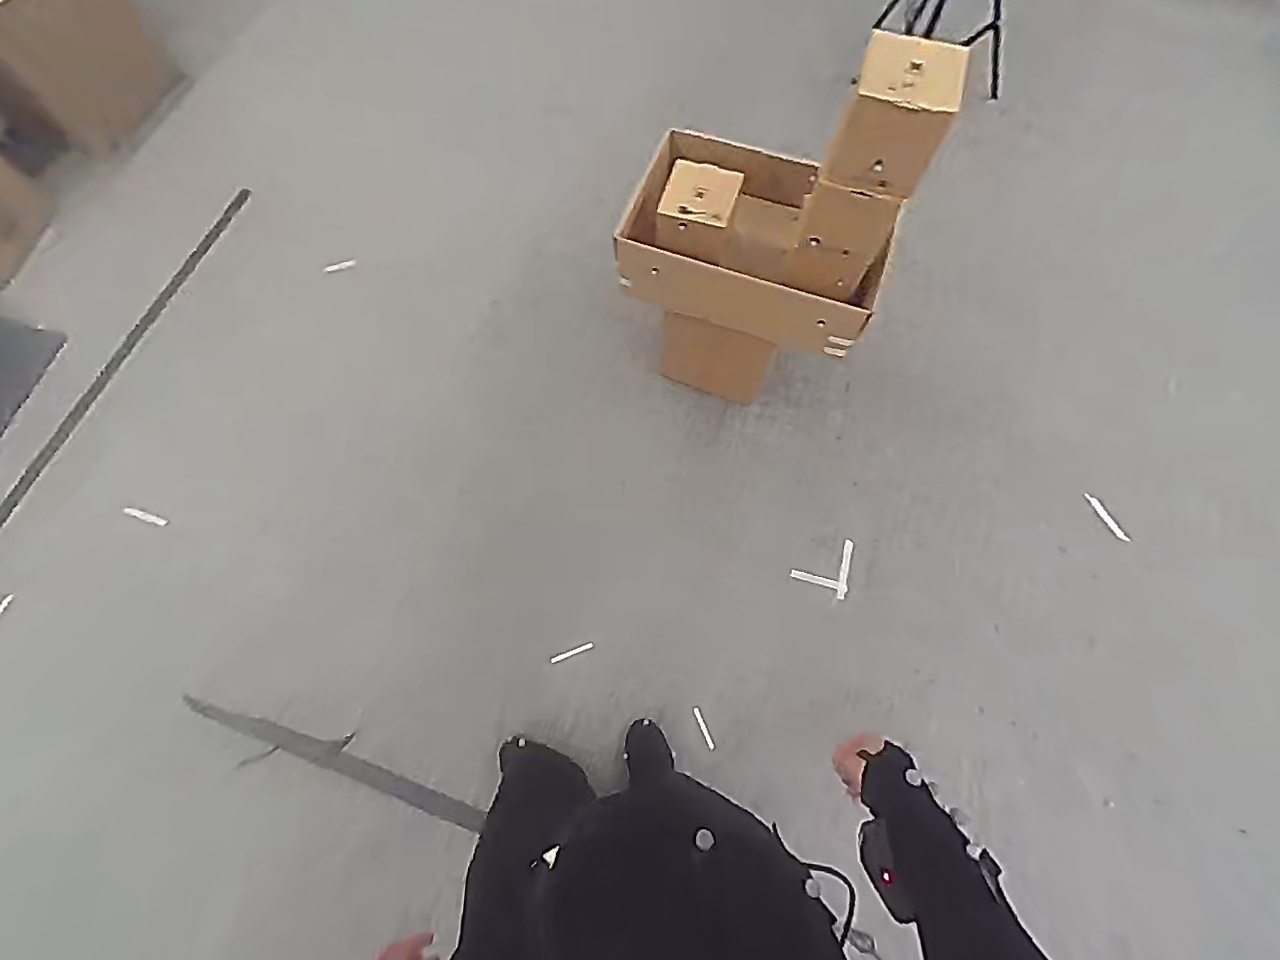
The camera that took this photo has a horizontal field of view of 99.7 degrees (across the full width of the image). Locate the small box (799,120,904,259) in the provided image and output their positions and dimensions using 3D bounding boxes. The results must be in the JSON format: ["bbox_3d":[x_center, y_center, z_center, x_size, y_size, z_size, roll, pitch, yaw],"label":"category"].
[{"bbox_3d":[0.444,-0.597,1.126,0.168,0.176,0.179,17,71,5],"label":"small box"}]

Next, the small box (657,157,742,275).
[{"bbox_3d":[0.139,-0.639,1.319,0.168,0.176,0.179,16,71,7],"label":"small box"}]

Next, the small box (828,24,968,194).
[{"bbox_3d":[0.456,-0.660,0.974,0.168,0.176,0.179,16,72,6],"label":"small box"}]
